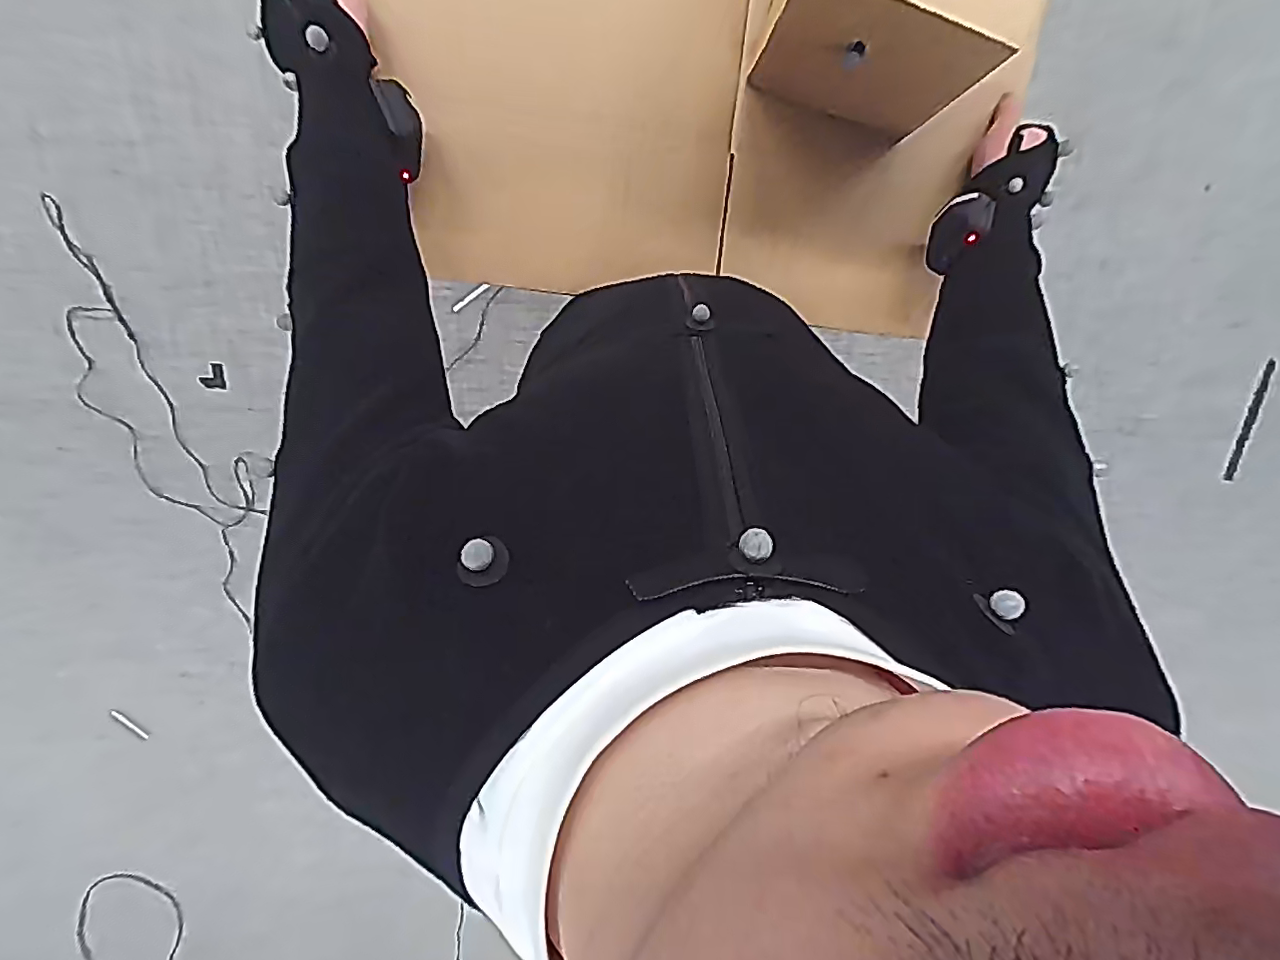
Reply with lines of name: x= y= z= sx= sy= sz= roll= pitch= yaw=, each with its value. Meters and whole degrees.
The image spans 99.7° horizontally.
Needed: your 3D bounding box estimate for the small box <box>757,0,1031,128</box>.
small box: x=0.219 y=-0.441 z=0.463 sx=0.179 sy=0.176 sz=0.168 roll=16 pitch=101 yaw=-6
